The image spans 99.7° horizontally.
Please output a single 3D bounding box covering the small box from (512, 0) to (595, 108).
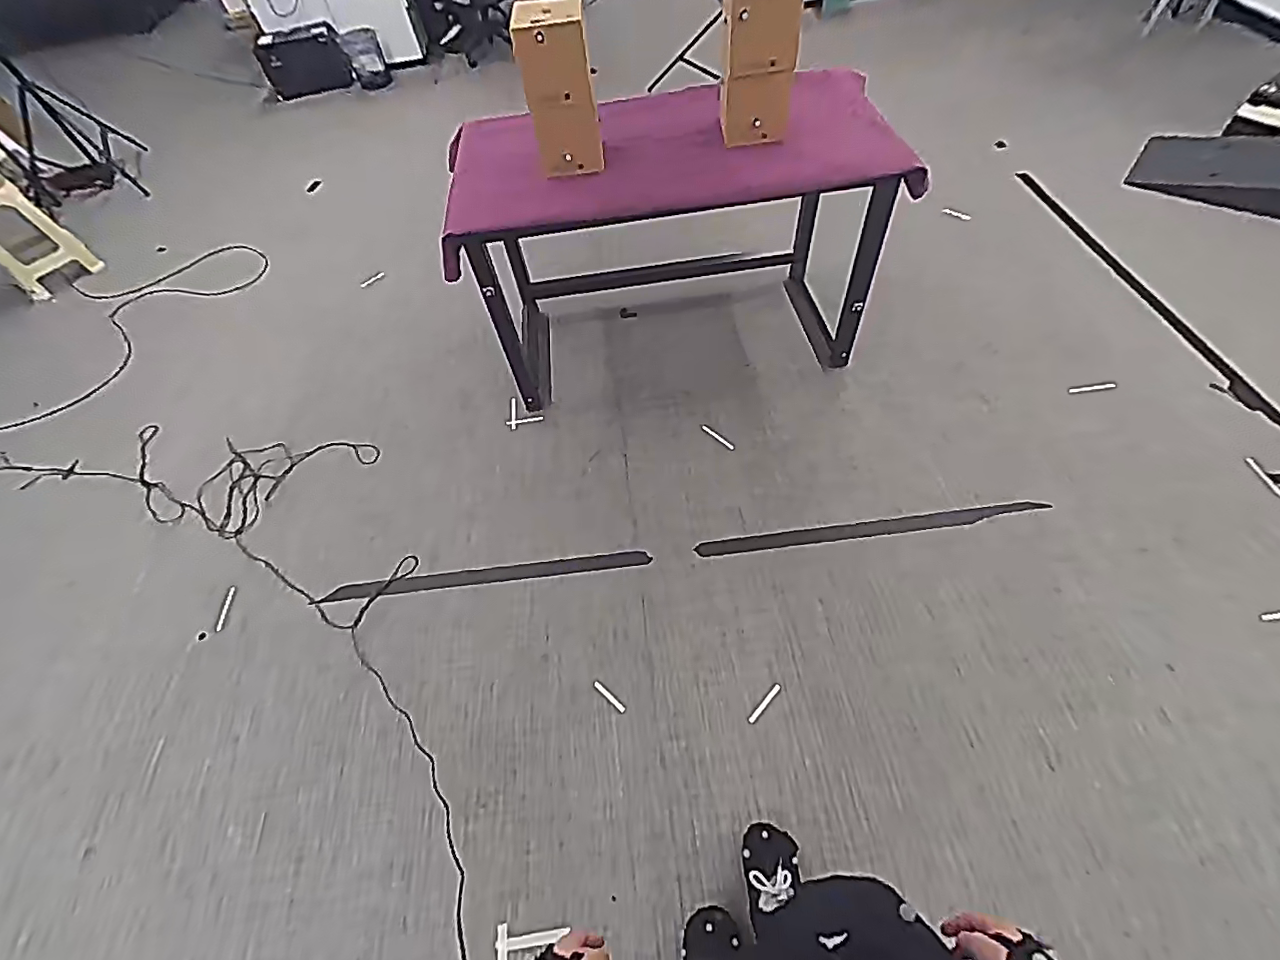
[{"bbox_3d":[-0.203,-1.038,1.315,0.168,0.176,0.179,-6,55,3],"label":"small box"}]

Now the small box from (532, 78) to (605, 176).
[{"bbox_3d":[-0.187,-0.947,1.451,0.168,0.176,0.179,-7,56,2],"label":"small box"}]

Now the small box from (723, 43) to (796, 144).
[{"bbox_3d":[0.313,-1.037,1.454,0.168,0.176,0.179,-4,56,5],"label":"small box"}]
